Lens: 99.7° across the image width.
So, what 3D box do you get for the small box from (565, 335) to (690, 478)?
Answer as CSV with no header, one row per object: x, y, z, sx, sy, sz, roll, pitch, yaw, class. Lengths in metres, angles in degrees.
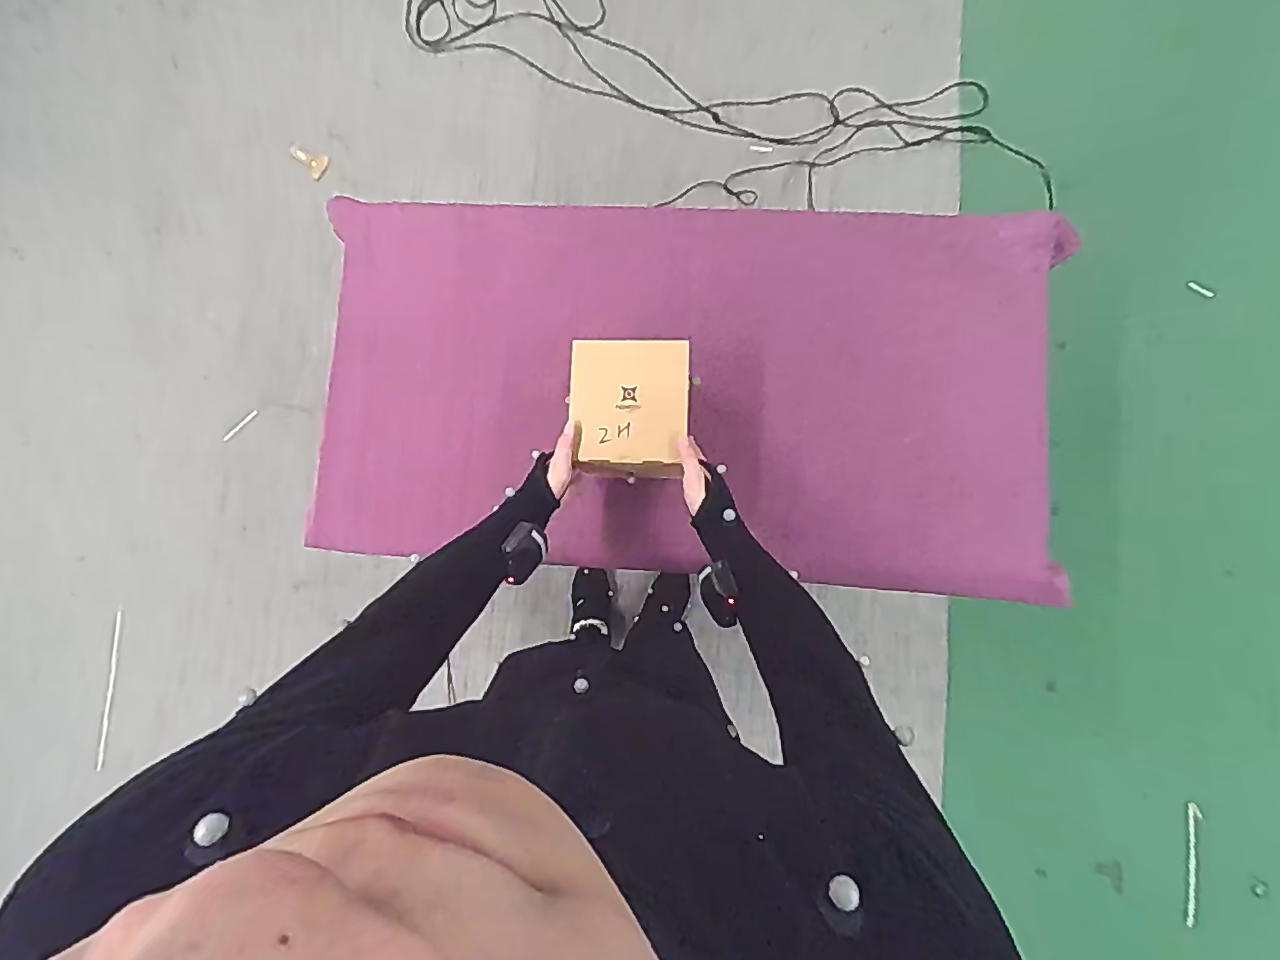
-0.011,-0.102,0.810,0.168,0.176,0.179,2,84,5,small box
